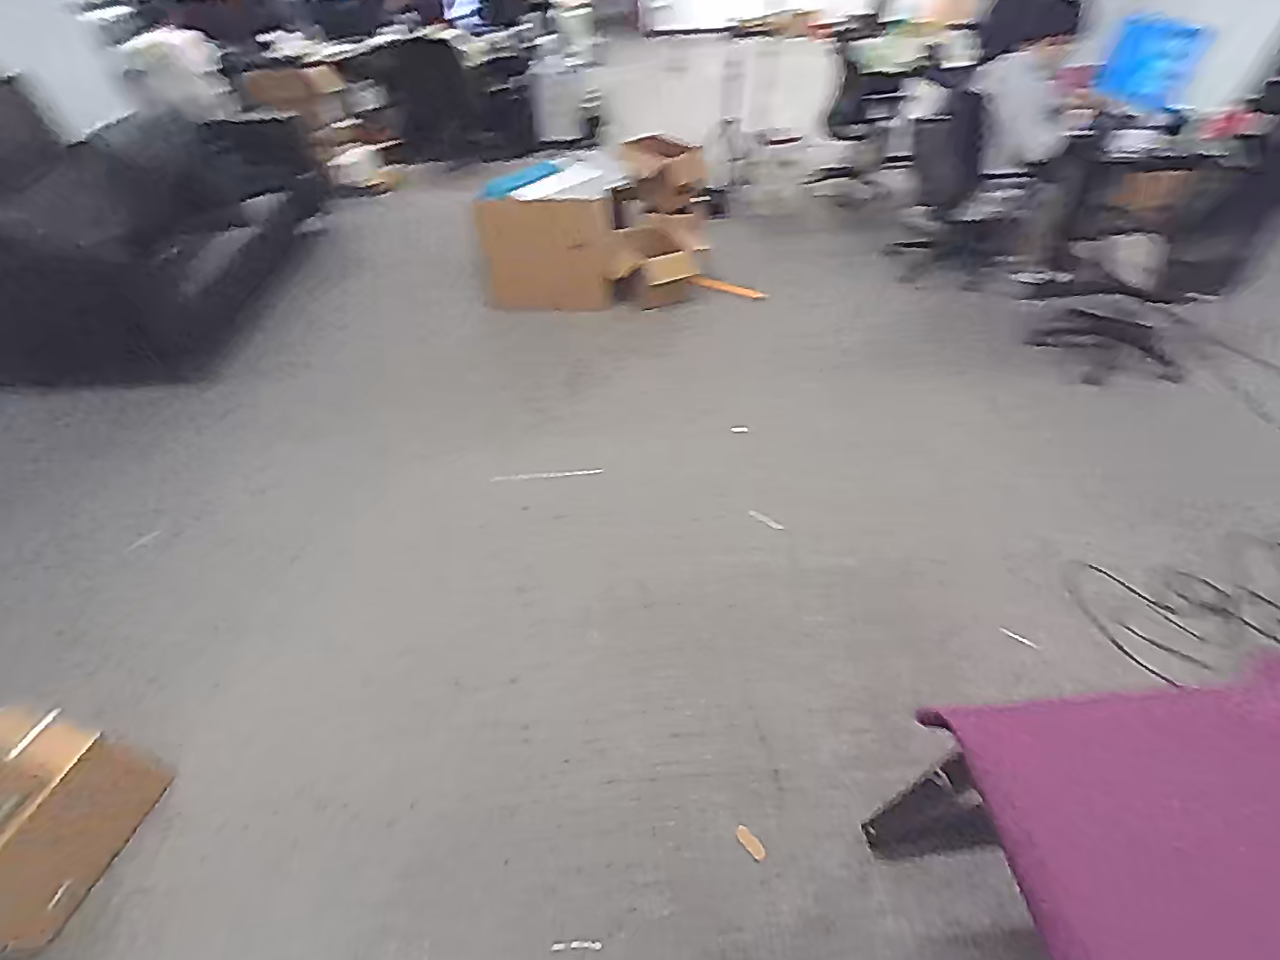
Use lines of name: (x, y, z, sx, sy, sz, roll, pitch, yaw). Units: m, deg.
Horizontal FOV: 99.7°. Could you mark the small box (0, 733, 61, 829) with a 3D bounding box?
small box: (-1.438, 0.636, 1.158, 0.179, 0.176, 0.168, 13, 49, 12)
